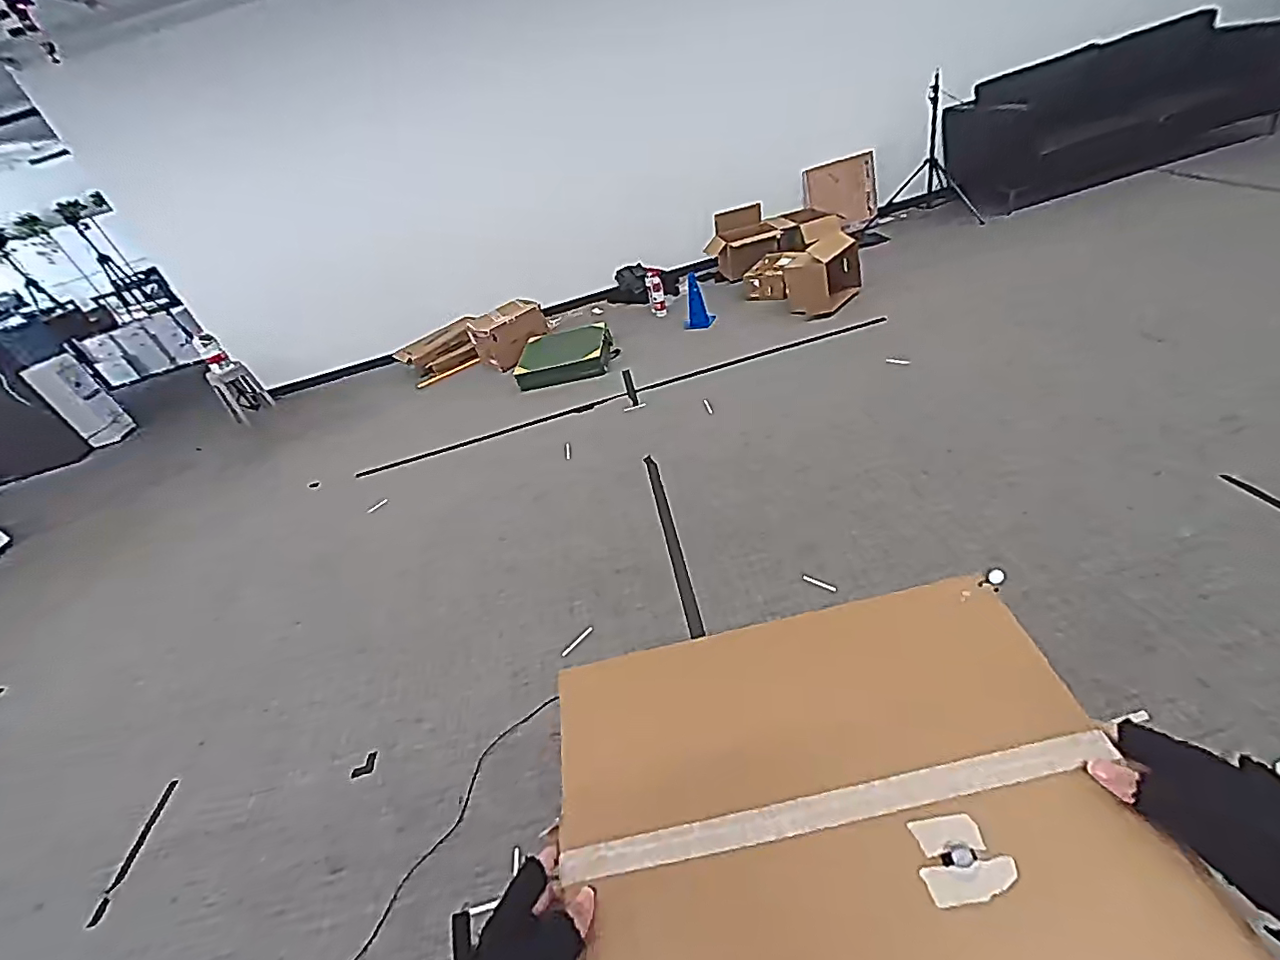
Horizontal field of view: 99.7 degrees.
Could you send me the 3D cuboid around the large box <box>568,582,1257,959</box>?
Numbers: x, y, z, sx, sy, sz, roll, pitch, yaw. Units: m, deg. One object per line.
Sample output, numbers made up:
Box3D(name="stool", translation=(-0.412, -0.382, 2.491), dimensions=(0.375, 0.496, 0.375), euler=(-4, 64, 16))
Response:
Box3D(name="large box", translation=(0.173, 0.352, 0.506), dimensions=(0.408, 0.320, 0.320), euler=(-14, 44, 1))
